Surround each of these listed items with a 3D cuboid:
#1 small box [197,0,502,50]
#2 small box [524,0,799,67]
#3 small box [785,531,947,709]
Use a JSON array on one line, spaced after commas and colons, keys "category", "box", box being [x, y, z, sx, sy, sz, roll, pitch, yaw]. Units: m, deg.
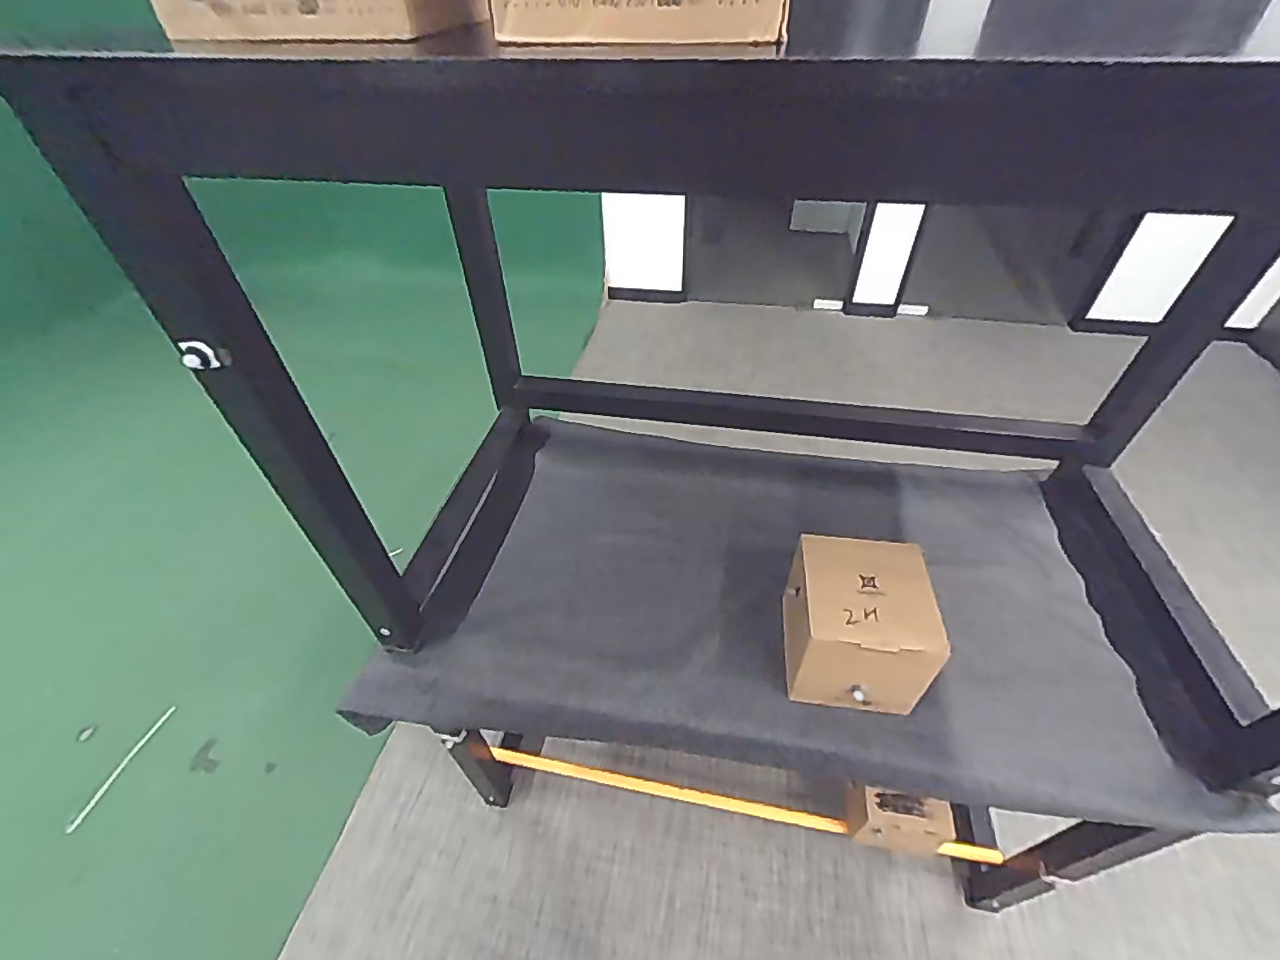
[{"category": "small box", "box": [-0.202, -0.397, 0.356, 0.168, 0.176, 0.179, 4, 43, 4]}, {"category": "small box", "box": [0.020, -0.364, 0.320, 0.168, 0.176, 0.179, 6, 45, 8]}, {"category": "small box", "box": [0.307, 0.199, 0.779, 0.168, 0.176, 0.179, 5, 43, 7]}]
